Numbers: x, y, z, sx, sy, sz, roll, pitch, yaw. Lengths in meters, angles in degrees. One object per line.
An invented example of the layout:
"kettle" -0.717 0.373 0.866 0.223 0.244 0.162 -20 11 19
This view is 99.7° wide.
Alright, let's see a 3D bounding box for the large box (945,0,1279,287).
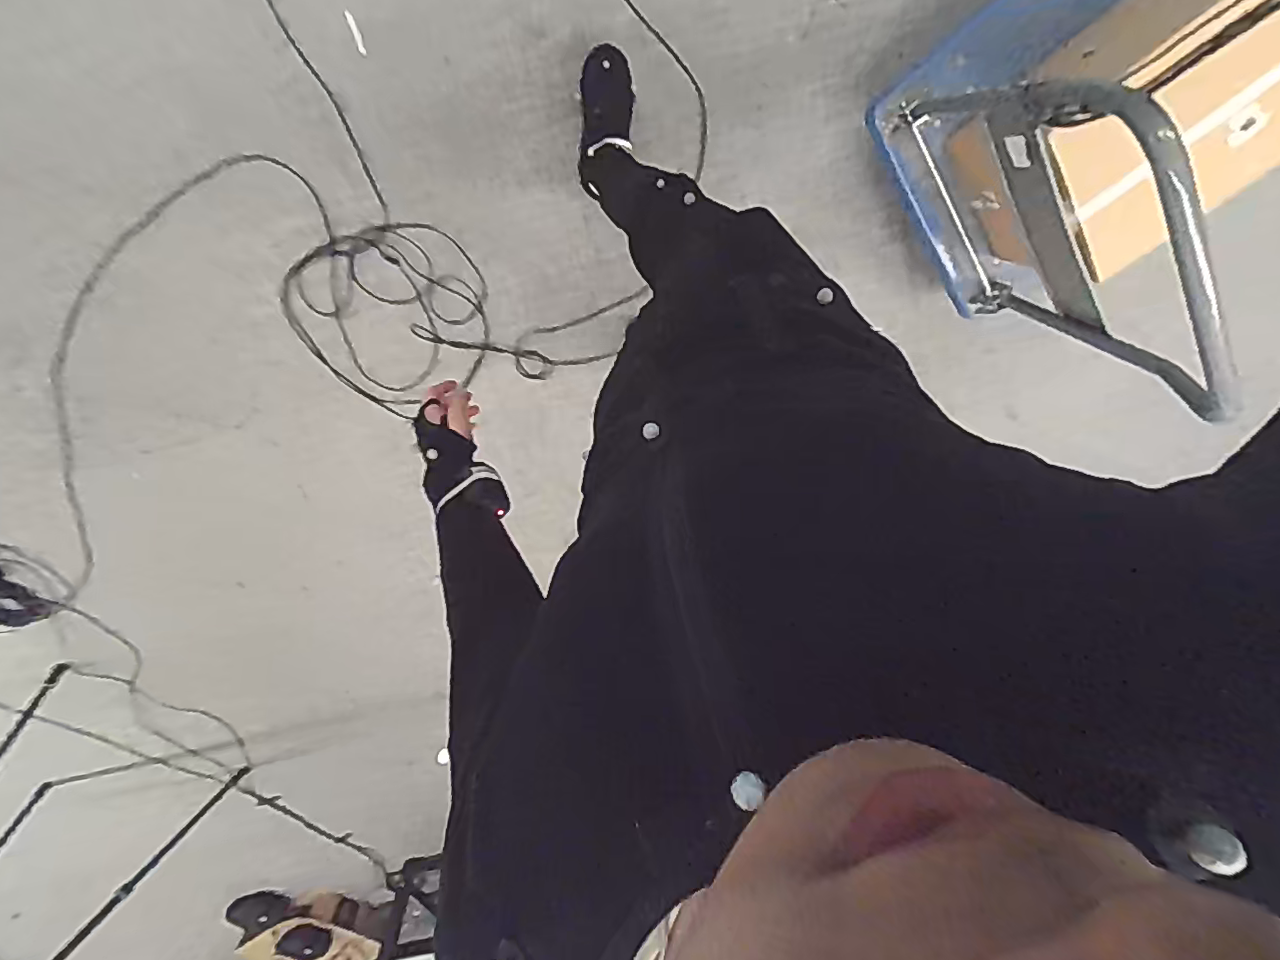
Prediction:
"large box" 0.895 -0.641 1.024 0.408 0.320 0.320 -37 116 16
